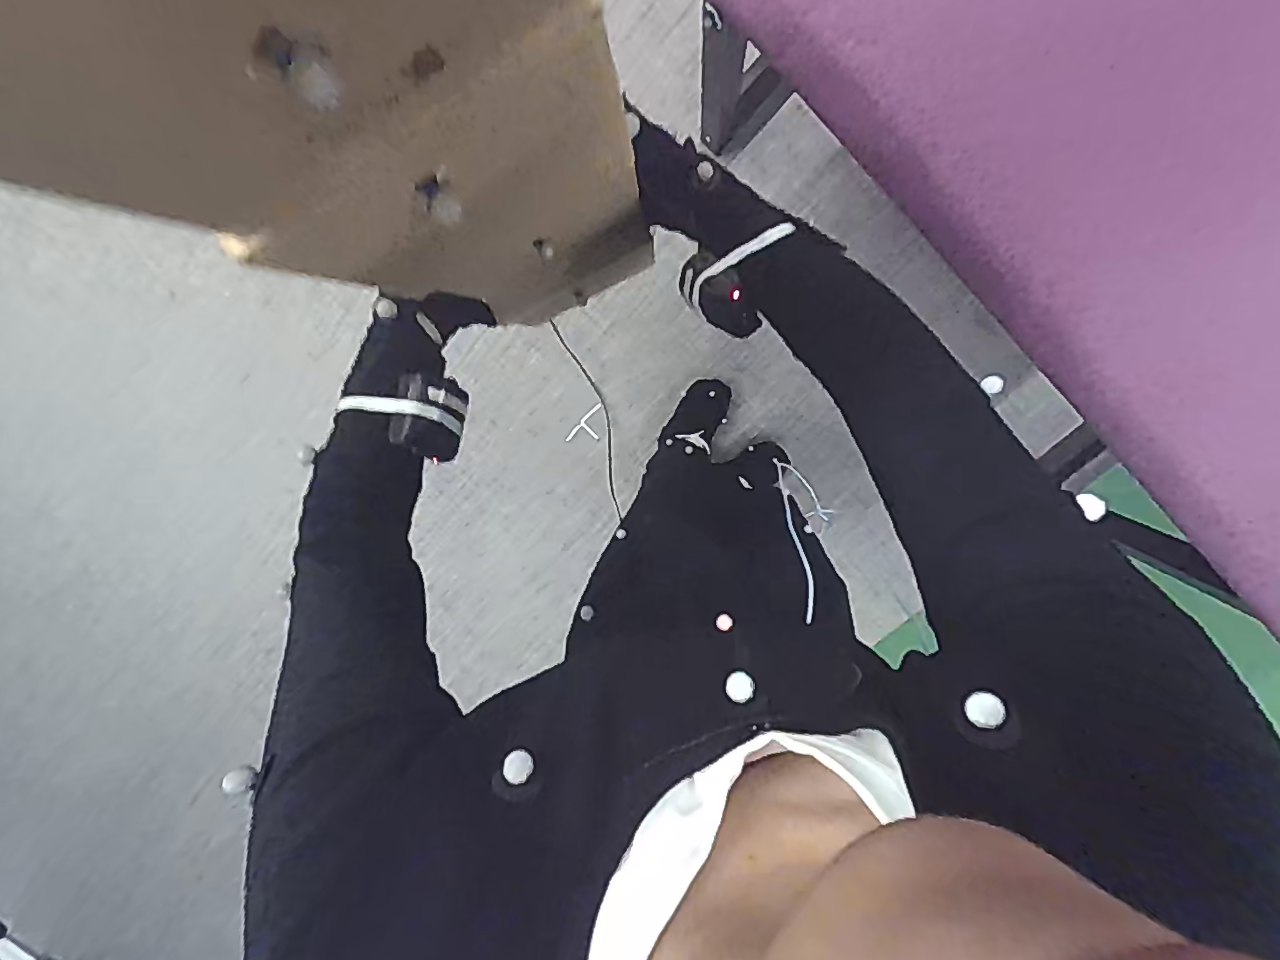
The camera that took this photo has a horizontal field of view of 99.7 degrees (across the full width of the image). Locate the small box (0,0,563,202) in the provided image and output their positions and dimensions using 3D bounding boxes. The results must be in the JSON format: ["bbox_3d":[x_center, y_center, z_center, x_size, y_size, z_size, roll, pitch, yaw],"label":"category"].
[{"bbox_3d":[-0.130,-0.189,0.100,0.168,0.176,0.179,-25,102,10],"label":"small box"}]

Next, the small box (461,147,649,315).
[{"bbox_3d":[-0.101,-0.291,0.582,0.179,0.176,0.168,-23,103,8],"label":"small box"}]

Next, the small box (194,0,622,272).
[{"bbox_3d":[-0.118,-0.221,0.262,0.179,0.176,0.168,-26,103,10],"label":"small box"}]
